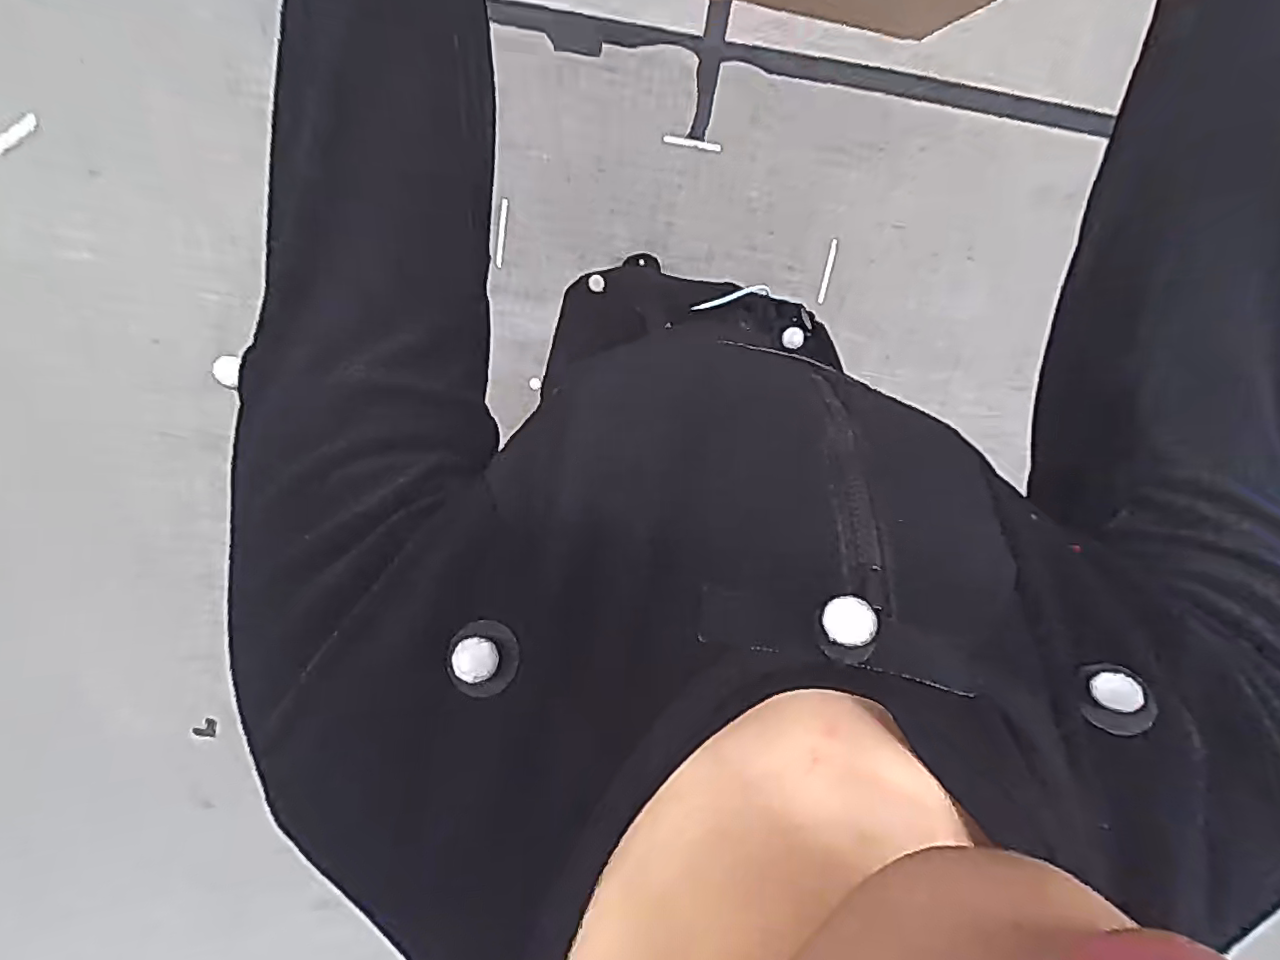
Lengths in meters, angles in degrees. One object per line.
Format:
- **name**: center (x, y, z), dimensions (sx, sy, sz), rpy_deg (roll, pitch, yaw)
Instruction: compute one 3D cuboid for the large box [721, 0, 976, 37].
- **large box**: center (0.129, -0.574, 0.382), dimensions (0.408, 0.320, 0.320), rpy_deg (8, 120, -6)
